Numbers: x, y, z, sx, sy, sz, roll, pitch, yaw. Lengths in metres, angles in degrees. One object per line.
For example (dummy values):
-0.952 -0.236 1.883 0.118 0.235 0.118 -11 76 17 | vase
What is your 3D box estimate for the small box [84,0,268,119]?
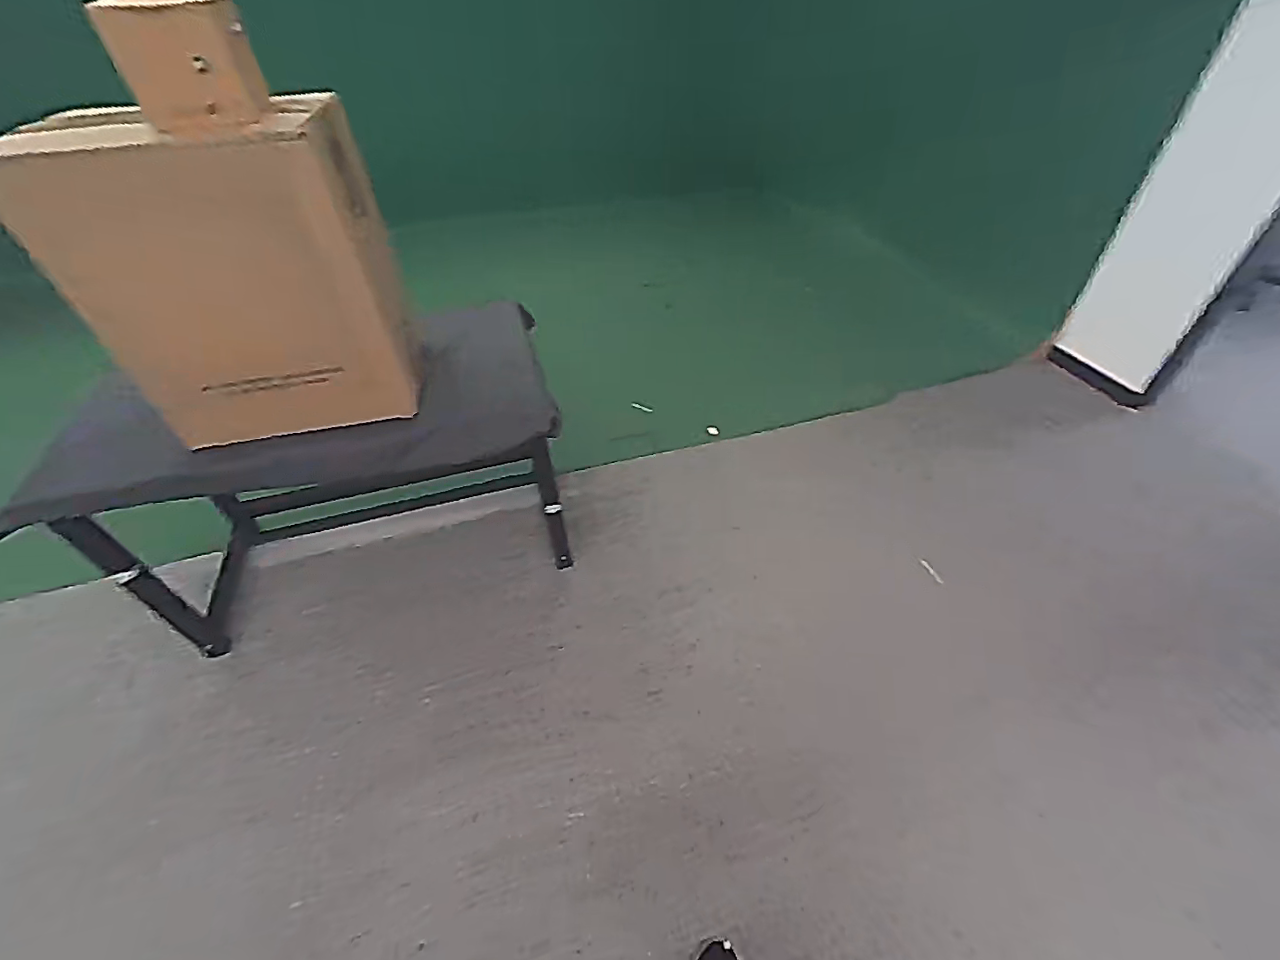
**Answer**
-0.769 -0.731 0.922 0.168 0.176 0.179 -12 47 -13 | small box
